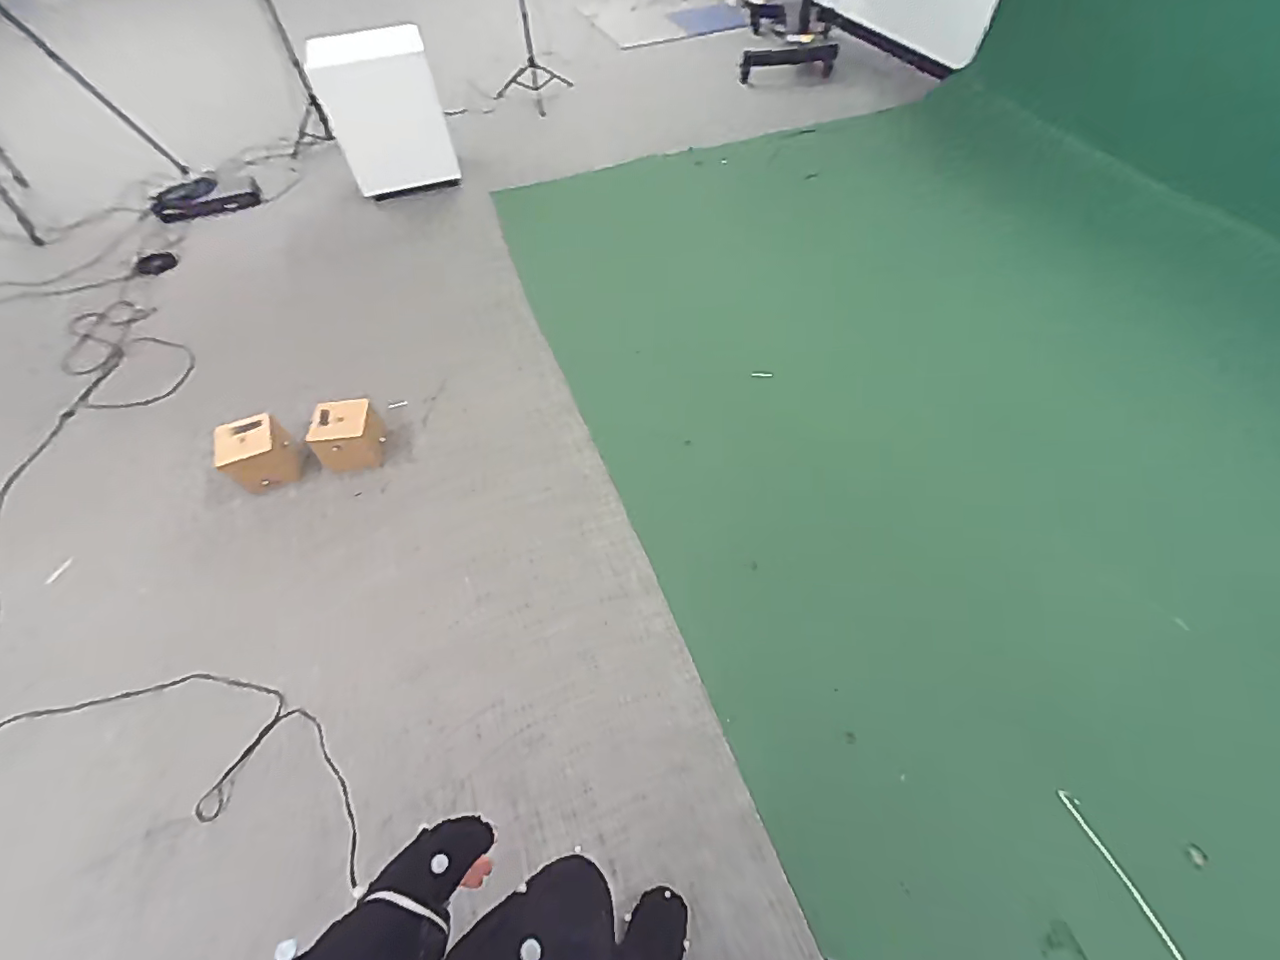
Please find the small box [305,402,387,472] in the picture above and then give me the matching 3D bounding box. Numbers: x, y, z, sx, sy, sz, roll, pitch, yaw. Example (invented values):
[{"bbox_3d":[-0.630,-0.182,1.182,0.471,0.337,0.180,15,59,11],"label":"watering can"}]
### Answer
[{"bbox_3d":[-0.979,-0.140,1.815,0.179,0.176,0.168,-6,55,-4],"label":"small box"}]
